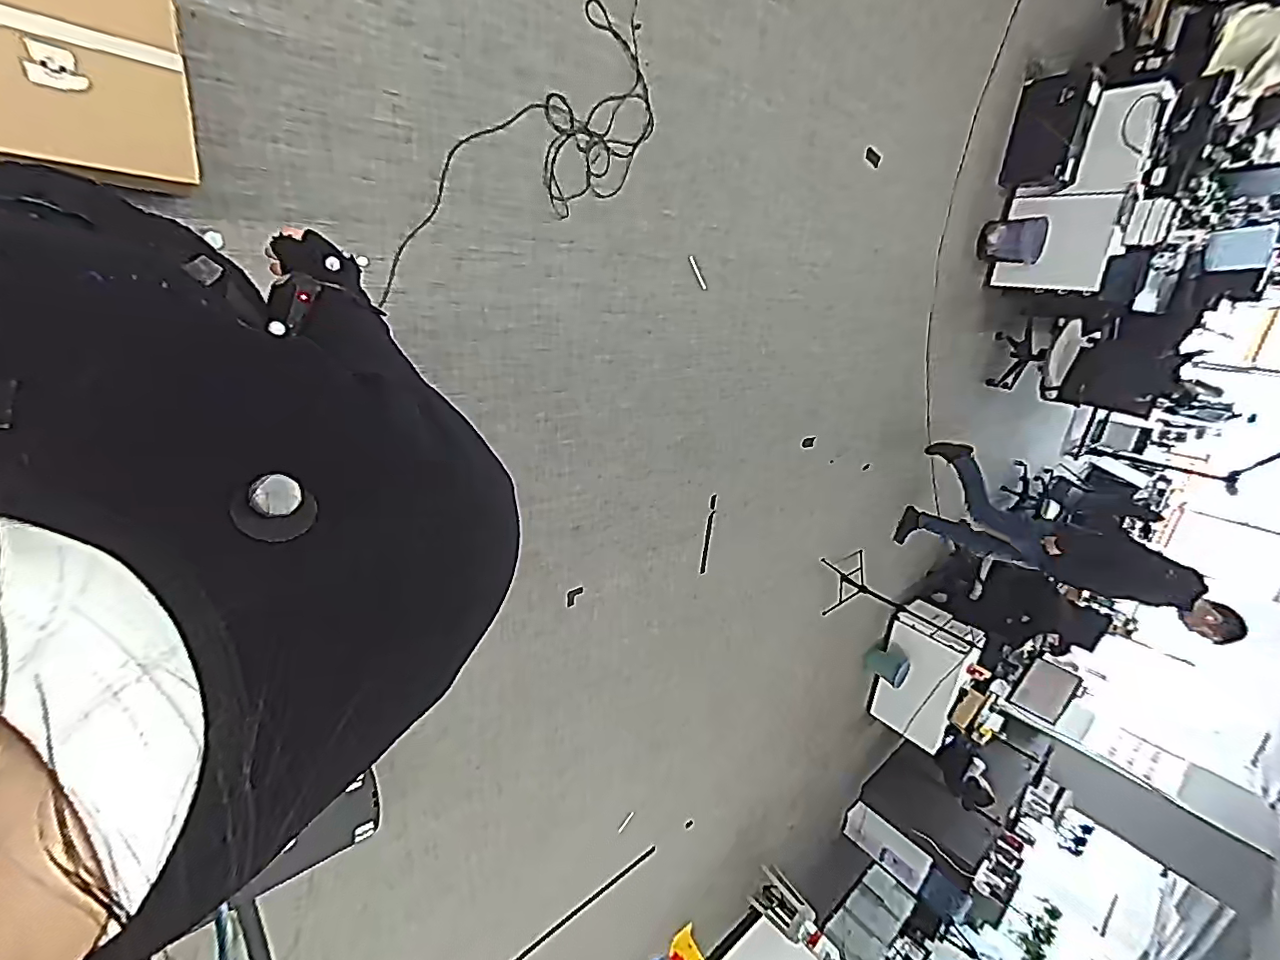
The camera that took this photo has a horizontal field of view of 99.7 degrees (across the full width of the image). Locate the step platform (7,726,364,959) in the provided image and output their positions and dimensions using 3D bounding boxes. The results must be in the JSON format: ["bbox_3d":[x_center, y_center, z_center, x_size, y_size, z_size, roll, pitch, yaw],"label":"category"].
[{"bbox_3d":[-1.089,0.932,1.381,0.684,0.204,0.286,-14,117,-36],"label":"step platform"}]

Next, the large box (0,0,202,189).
[{"bbox_3d":[-0.909,-0.627,0.762,0.408,0.320,0.320,-10,116,-40],"label":"large box"}]
